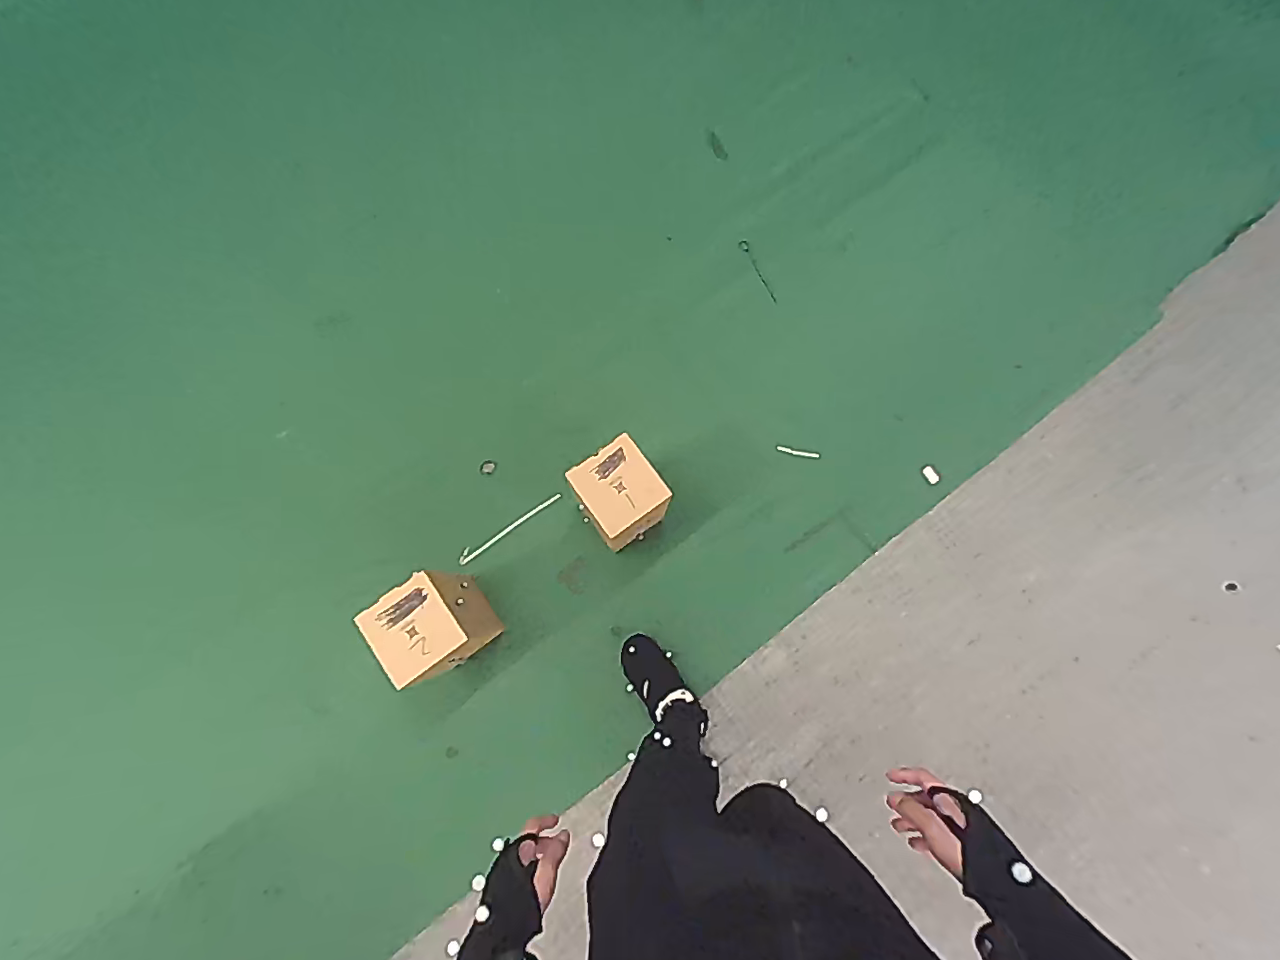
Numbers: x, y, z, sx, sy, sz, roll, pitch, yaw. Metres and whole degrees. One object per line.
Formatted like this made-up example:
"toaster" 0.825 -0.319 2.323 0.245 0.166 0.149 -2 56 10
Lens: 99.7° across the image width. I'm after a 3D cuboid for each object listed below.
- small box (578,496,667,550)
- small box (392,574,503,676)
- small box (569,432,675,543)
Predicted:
"small box" -0.050 0.063 1.391 0.168 0.176 0.179 -34 81 -9
"small box" -0.458 0.346 1.318 0.168 0.176 0.179 -36 80 -8
"small box" -0.043 0.025 1.231 0.168 0.176 0.179 -35 81 -9
